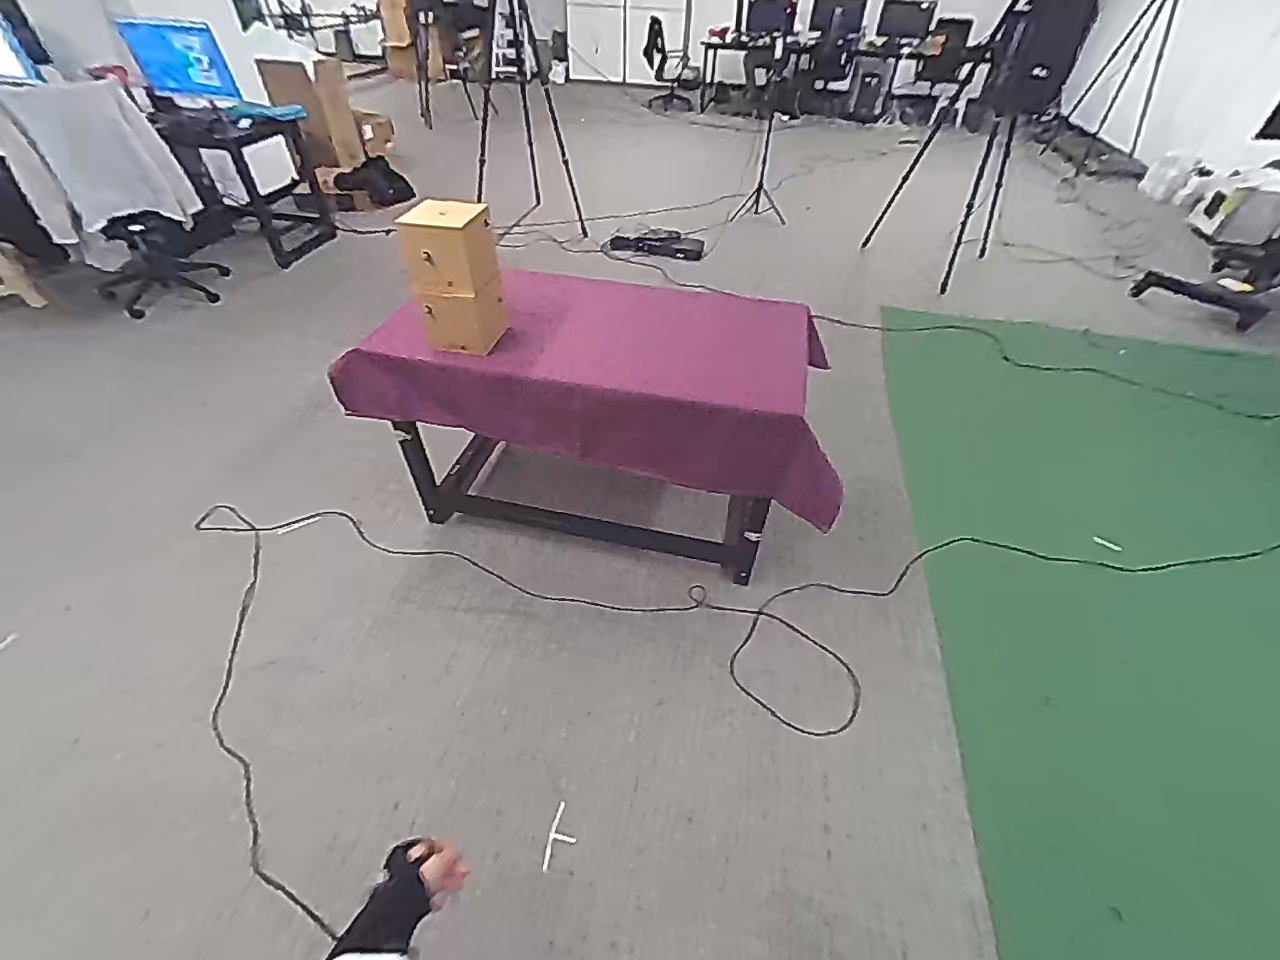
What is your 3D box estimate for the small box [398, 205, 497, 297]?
[{"bbox_3d":[-0.474,-0.577,1.366,0.168,0.176,0.179,7,43,6],"label":"small box"}]
